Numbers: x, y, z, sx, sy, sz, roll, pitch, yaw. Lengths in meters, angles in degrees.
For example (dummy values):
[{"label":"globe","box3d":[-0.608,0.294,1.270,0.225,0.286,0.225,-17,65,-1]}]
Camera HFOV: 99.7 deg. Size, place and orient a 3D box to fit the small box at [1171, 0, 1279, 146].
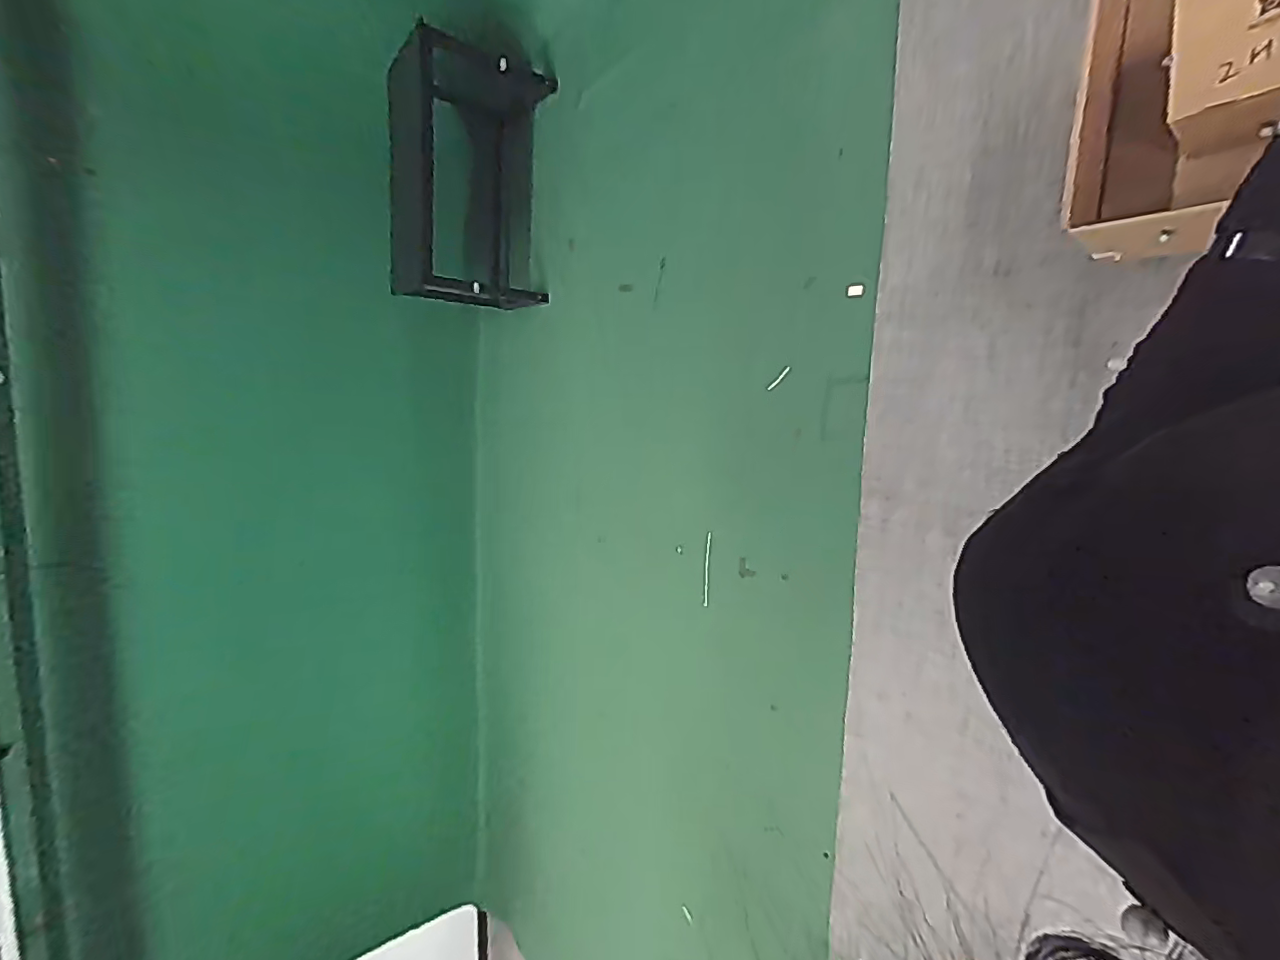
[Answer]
[{"label":"small box","box3d":[0.789,-0.556,0.667,0.168,0.176,0.179,6,98,52]}]
